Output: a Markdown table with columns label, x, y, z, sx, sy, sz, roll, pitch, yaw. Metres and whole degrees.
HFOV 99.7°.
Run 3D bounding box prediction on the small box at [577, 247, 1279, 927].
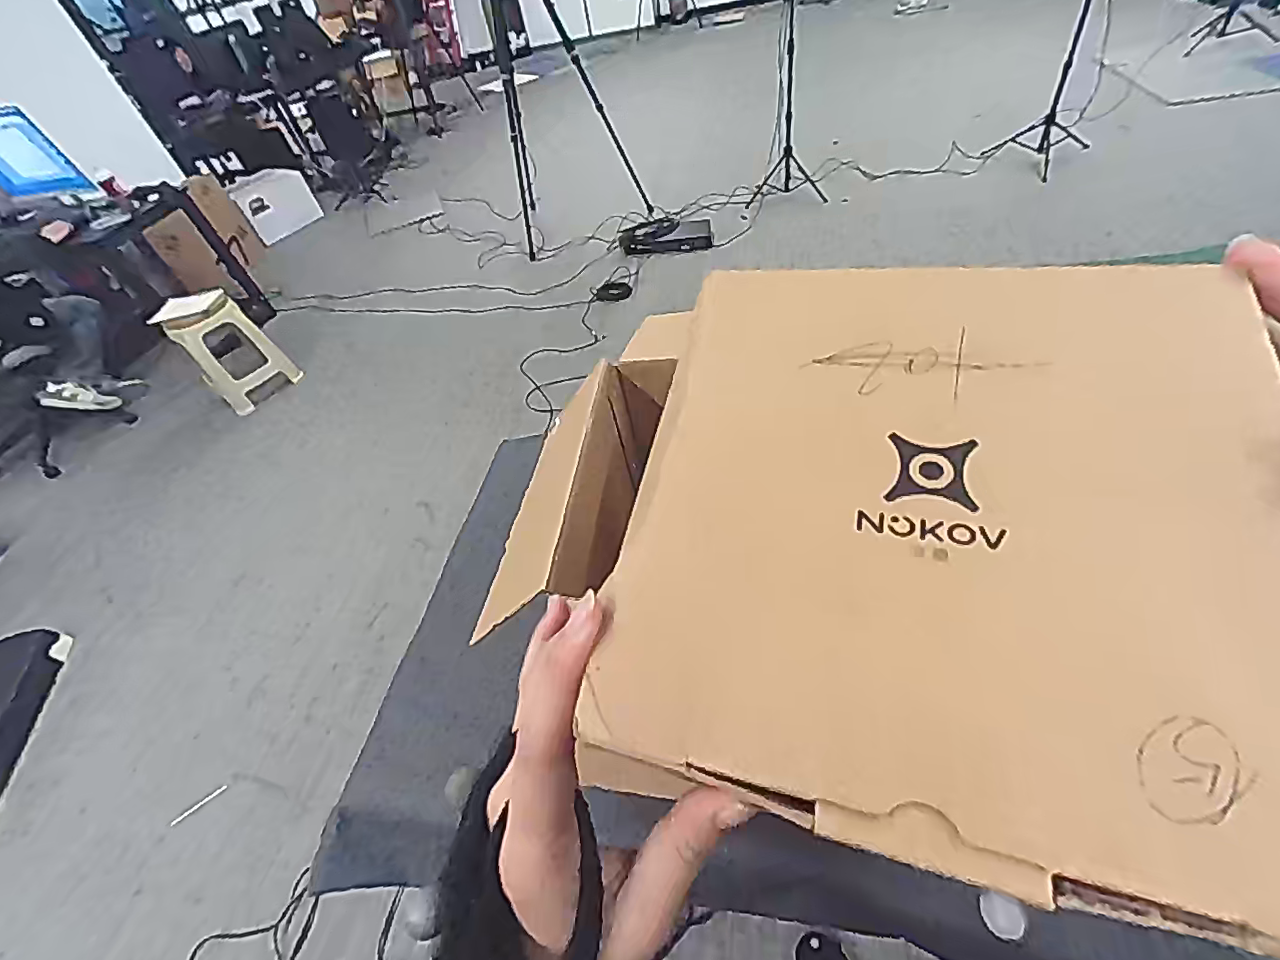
| label | x | y | z | sx | sy | sz | roll | pitch | yaw |
| --- | --- | --- | --- | --- | --- | --- | --- | --- | --- |
| small box | 0.098 | 0.036 | 0.216 | 0.168 | 0.176 | 0.179 | 7 | 61 | 18 |
